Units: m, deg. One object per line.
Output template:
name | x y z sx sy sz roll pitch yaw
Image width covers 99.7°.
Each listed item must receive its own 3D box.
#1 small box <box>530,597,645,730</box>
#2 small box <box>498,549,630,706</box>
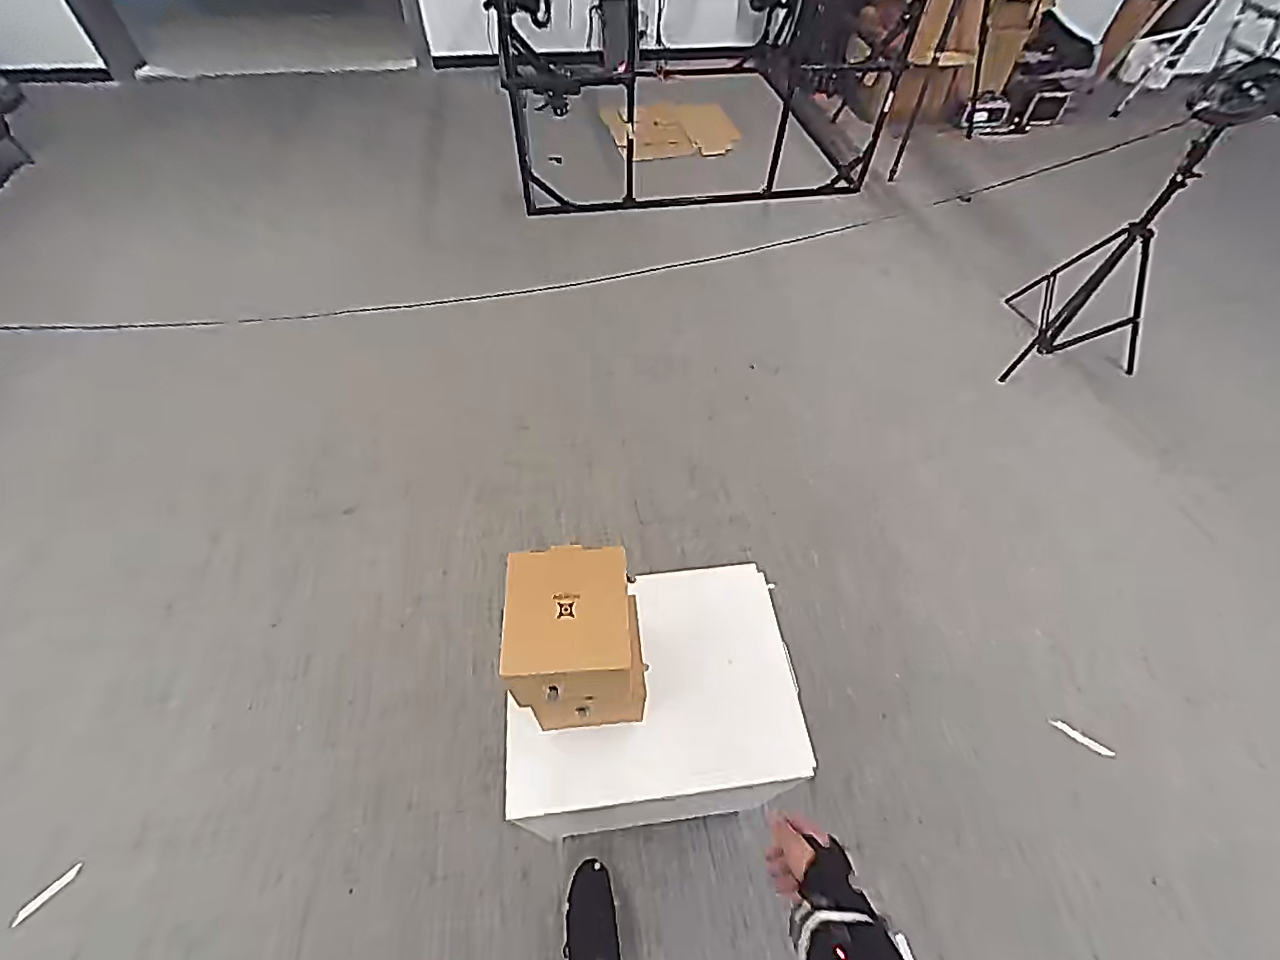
small box | -0.087 0.313 0.913 0.179 0.176 0.168 -3 54 -6
small box | -0.100 0.218 0.781 0.168 0.176 0.179 -2 53 -4
